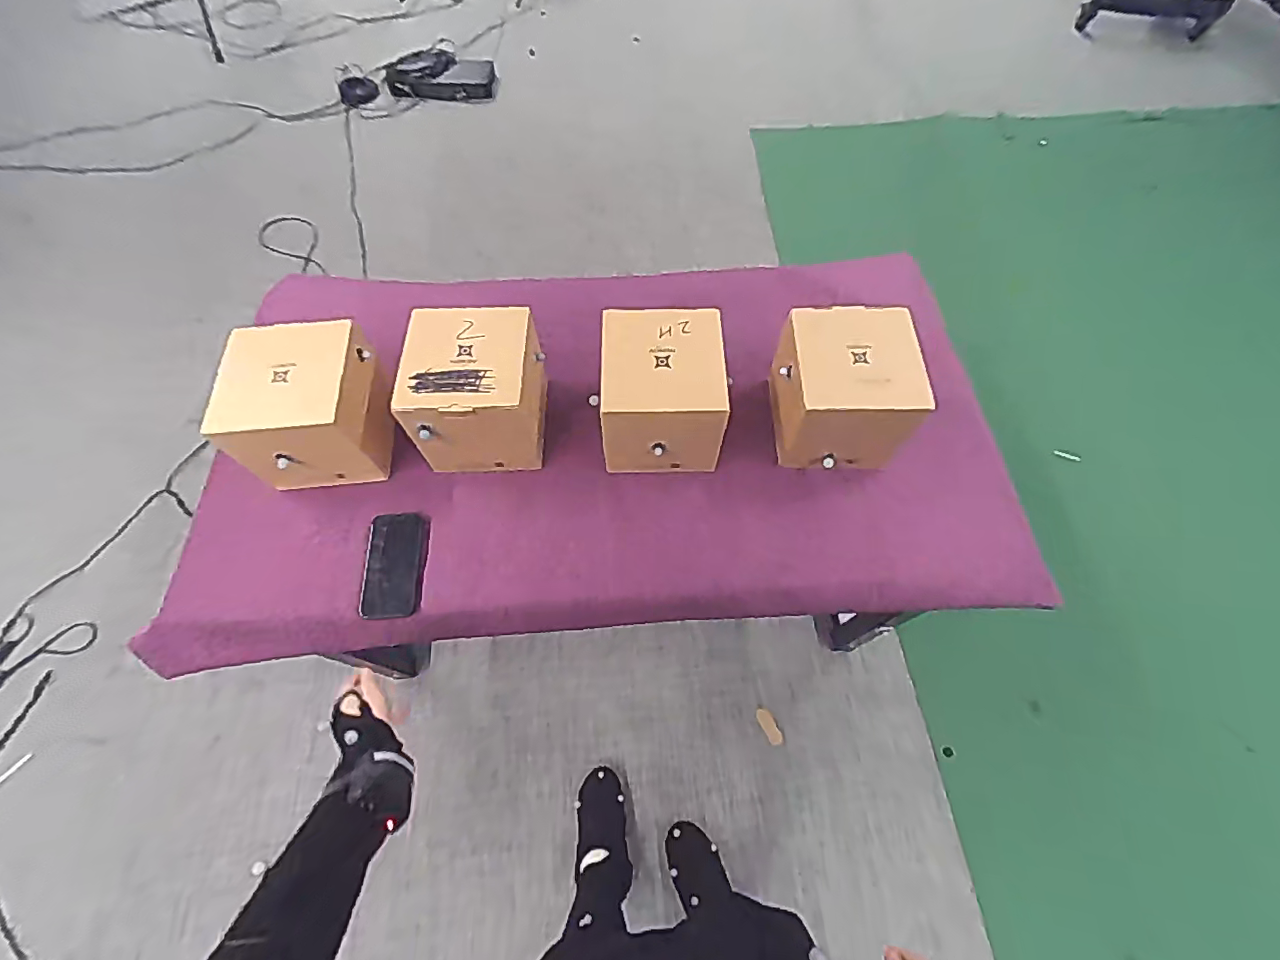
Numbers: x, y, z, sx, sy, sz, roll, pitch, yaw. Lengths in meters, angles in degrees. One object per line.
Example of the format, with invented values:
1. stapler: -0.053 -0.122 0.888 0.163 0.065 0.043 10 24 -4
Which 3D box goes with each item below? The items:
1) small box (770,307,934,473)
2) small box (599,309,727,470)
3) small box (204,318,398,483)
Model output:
1. small box: 0.292 -0.128 0.791 0.168 0.176 0.179 1 63 2
2. small box: 0.032 -0.125 0.789 0.168 0.176 0.179 0 62 0
3. small box: -0.469 -0.105 0.782 0.168 0.176 0.179 -5 62 -3
